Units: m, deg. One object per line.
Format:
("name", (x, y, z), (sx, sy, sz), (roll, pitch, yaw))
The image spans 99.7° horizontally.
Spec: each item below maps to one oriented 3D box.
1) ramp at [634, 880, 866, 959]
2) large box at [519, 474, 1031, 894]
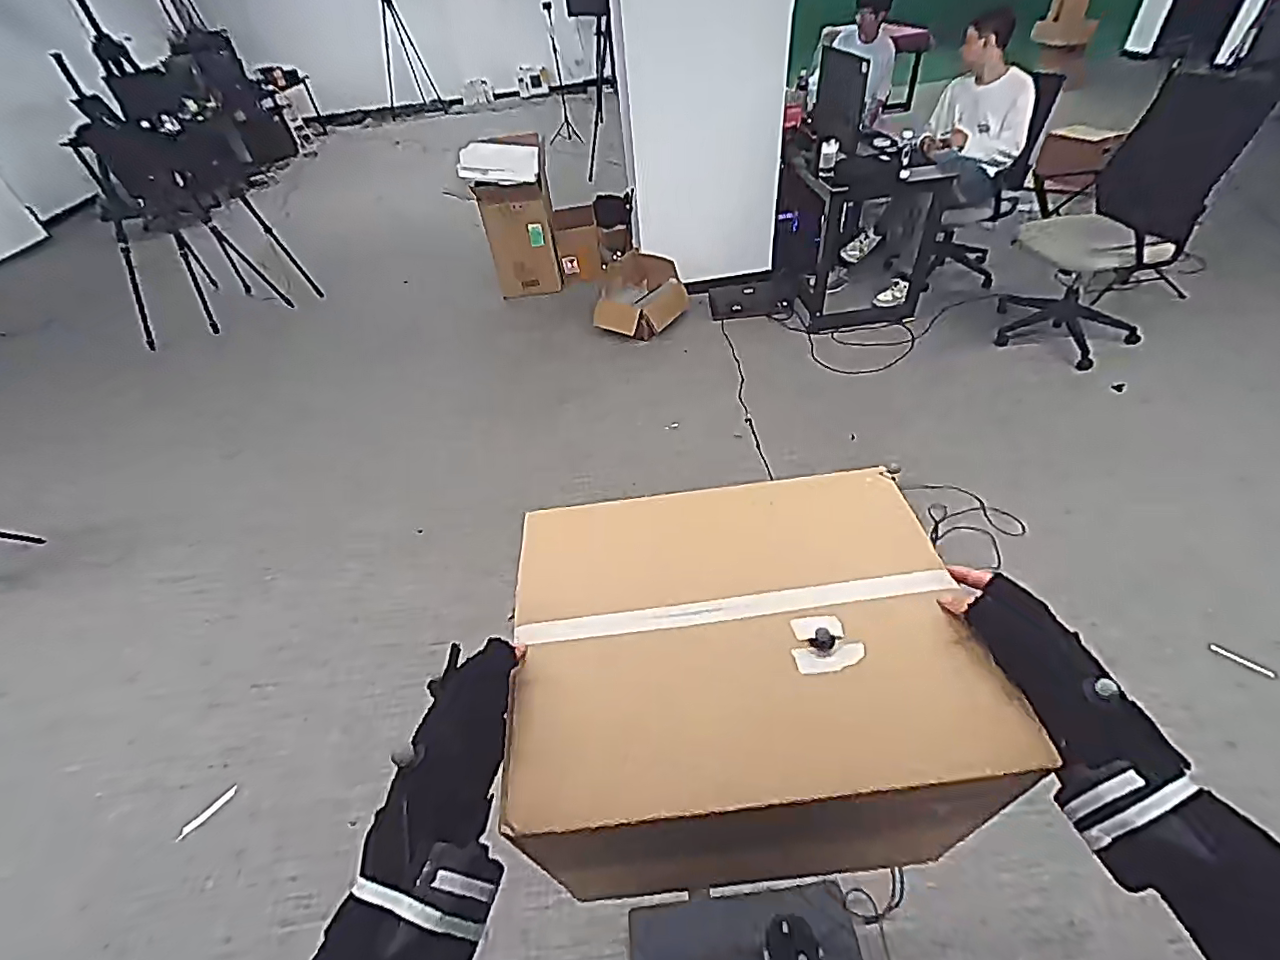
("ramp", (0.264, 1.236, 0.839), (0.509, 0.206, 0.991), (-10, 43, -1))
("large box", (0.101, 0.230, 0.616), (0.408, 0.320, 0.320), (-7, 45, 0))
